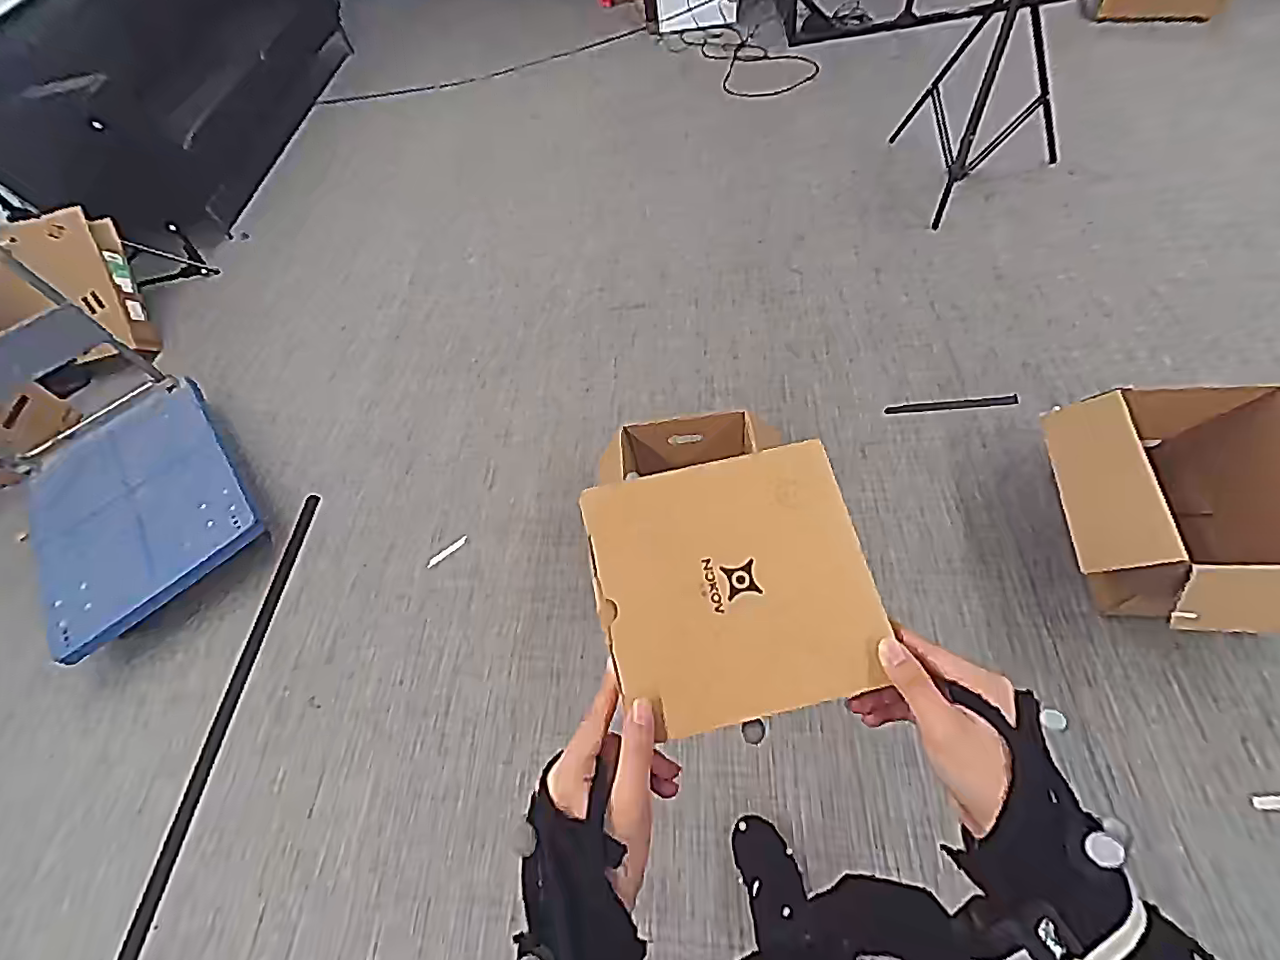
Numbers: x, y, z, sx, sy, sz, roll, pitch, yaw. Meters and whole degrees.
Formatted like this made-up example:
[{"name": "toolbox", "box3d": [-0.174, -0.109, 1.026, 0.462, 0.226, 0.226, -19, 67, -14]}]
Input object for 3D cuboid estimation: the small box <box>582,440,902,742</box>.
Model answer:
[{"name": "small box", "box3d": [0.062, 0.089, 0.425, 0.179, 0.176, 0.168, -13, 71, -2]}]
